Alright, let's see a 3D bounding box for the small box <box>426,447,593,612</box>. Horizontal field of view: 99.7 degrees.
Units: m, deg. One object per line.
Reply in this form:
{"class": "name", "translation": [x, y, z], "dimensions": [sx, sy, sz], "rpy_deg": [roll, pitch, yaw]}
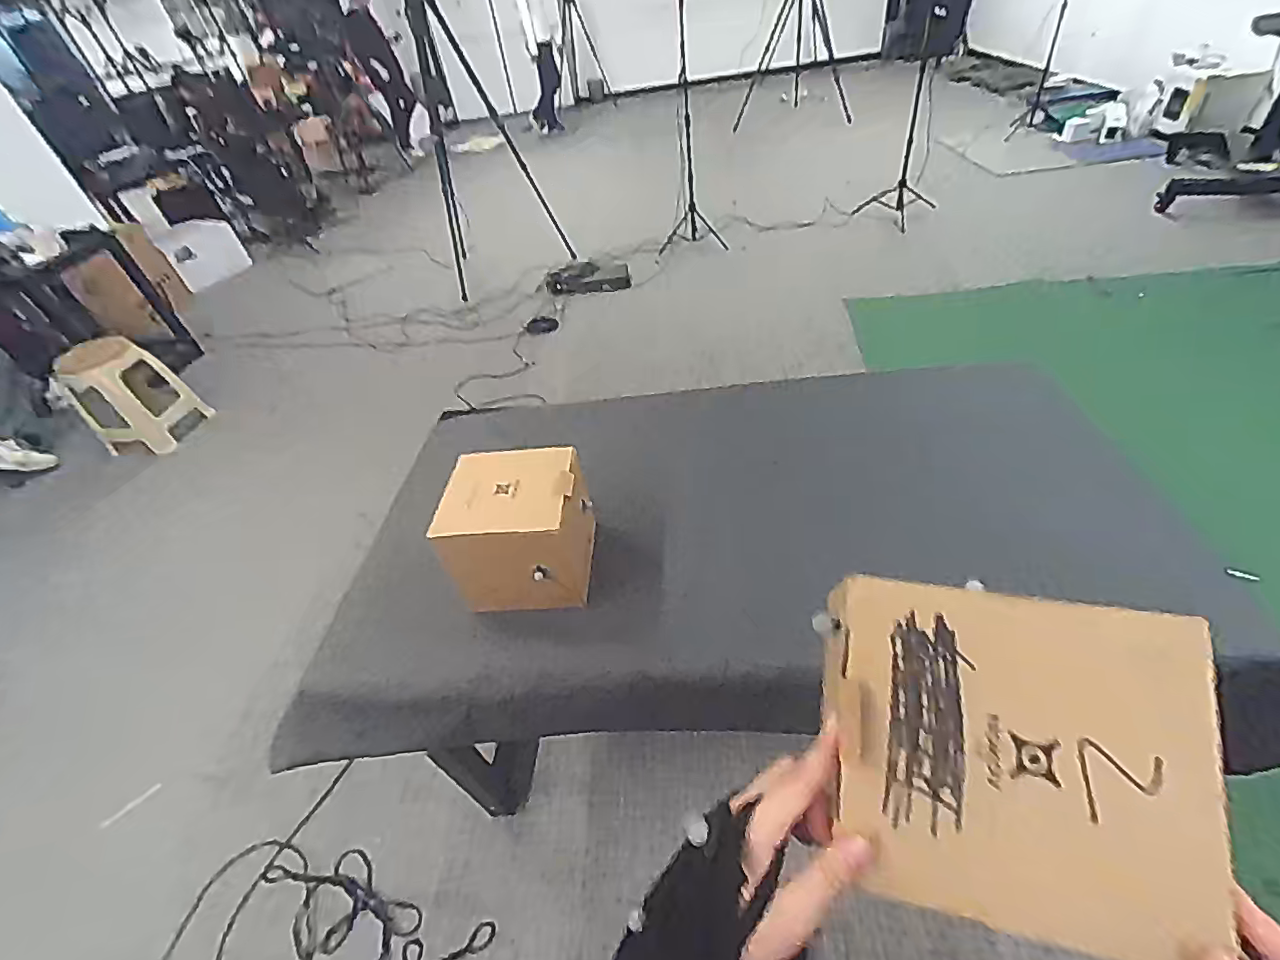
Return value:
{"class": "small box", "translation": [-0.170, 0.073, 0.777], "dimensions": [0.179, 0.176, 0.168], "rpy_deg": [-5, 41, 6]}
